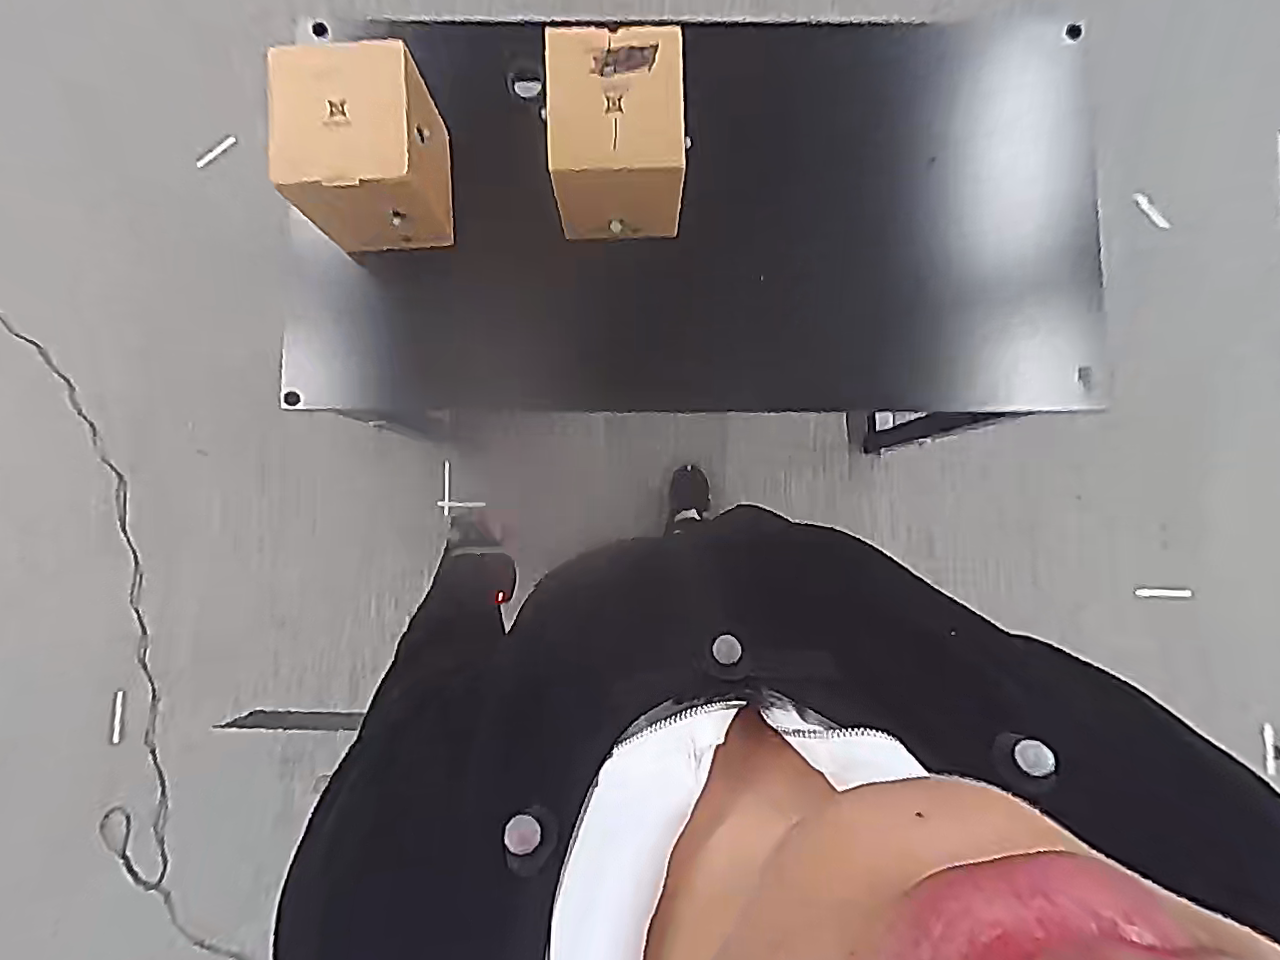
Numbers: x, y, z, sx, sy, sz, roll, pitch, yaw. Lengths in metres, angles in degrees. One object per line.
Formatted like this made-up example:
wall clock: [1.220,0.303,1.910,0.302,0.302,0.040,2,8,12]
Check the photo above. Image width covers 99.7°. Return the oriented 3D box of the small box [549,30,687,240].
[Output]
small box: [-0.028,-0.446,0.721,0.168,0.176,0.179,-1,87,0]

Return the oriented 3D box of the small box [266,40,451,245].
small box: [-0.360,-0.430,0.719,0.168,0.176,0.179,-4,86,-2]
